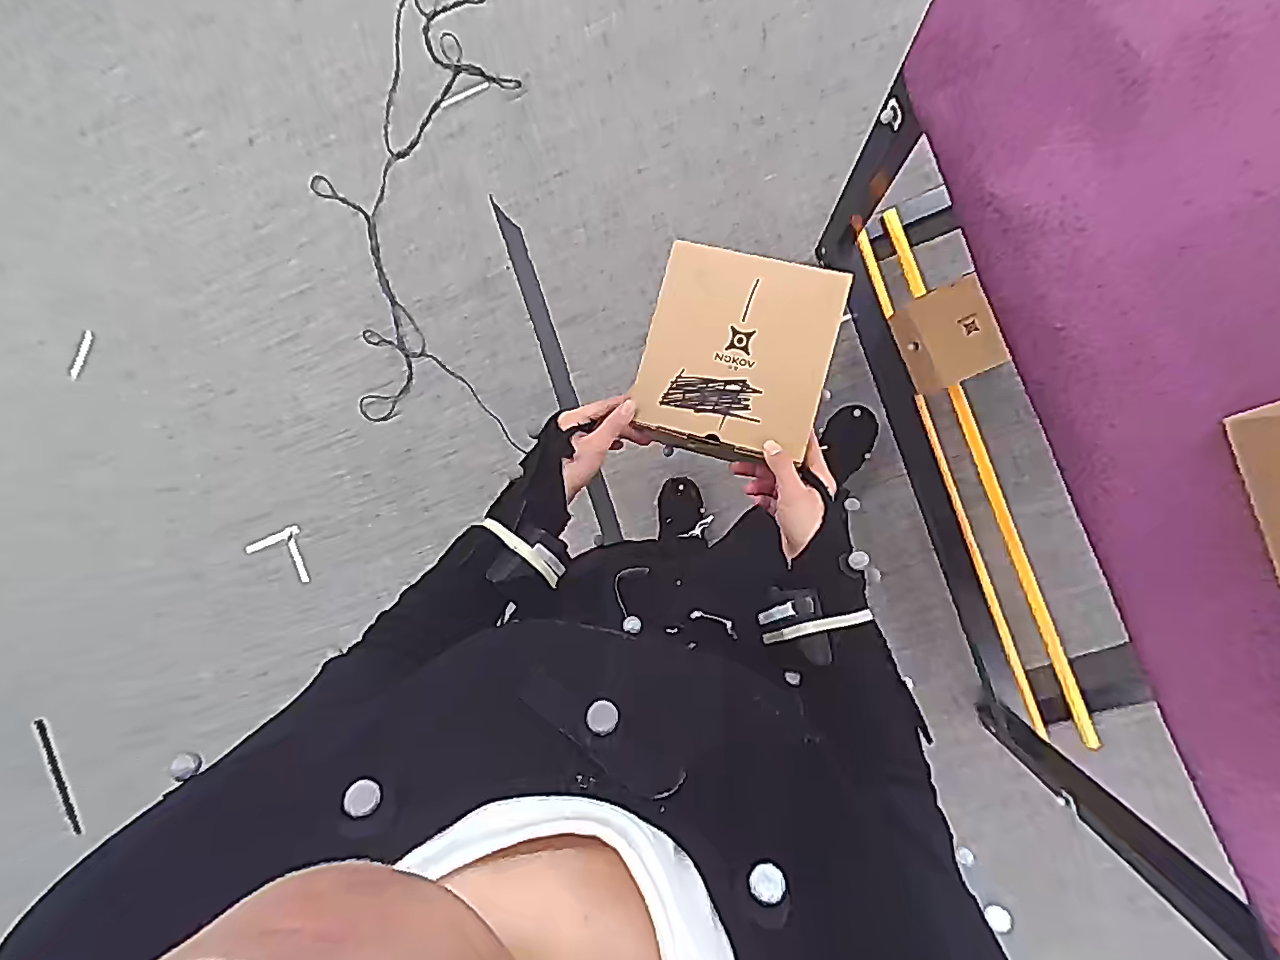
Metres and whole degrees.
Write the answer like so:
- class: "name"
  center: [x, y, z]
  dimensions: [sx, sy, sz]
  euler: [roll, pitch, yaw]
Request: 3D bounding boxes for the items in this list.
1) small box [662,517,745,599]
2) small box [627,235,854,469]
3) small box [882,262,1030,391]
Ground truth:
- class: "small box"
  center: [0.140, 0.170, 1.230]
  dimensions: [0.179, 0.176, 0.168]
  euler: [2, 90, 5]
- class: "small box"
  center: [0.098, -0.116, 0.559]
  dimensions: [0.168, 0.176, 0.179]
  euler: [15, 89, 8]
- class: "small box"
  center: [0.605, -0.286, 1.057]
  dimensions: [0.168, 0.176, 0.179]
  euler: [-24, 88, 10]
